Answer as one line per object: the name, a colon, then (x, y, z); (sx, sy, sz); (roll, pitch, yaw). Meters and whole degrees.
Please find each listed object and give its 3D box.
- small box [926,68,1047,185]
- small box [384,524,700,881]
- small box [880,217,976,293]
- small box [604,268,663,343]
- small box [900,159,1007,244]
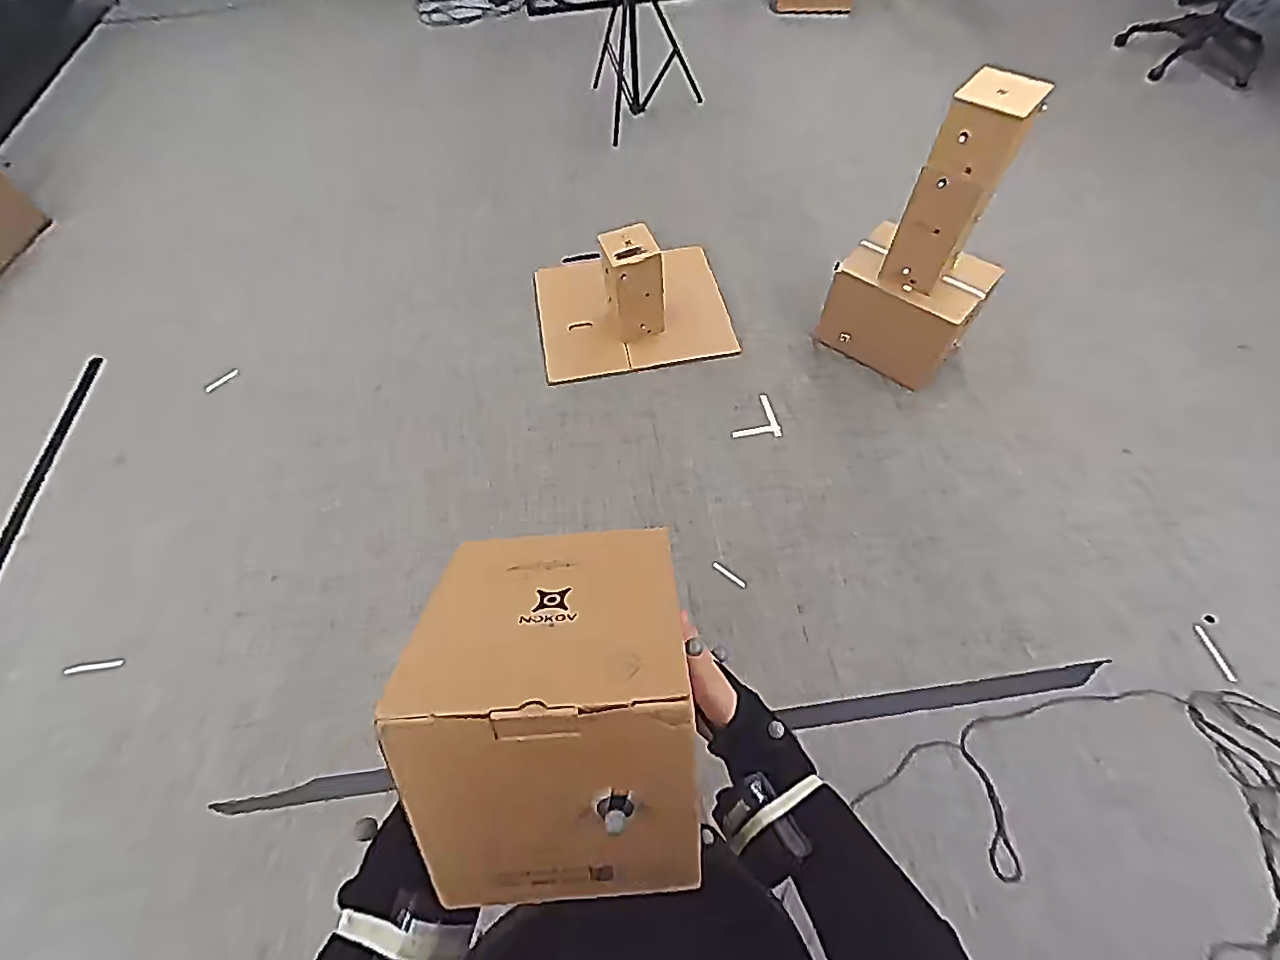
small box: (0.832, -0.858, 1.320); (0.168, 0.176, 0.179); (35, 67, 21)
small box: (-0.049, 0.151, 0.385); (0.168, 0.176, 0.179); (-3, 24, -1)
small box: (0.843, -0.694, 1.603); (0.168, 0.176, 0.179); (35, 68, 21)
small box: (-0.023, -0.629, 1.956); (0.168, 0.176, 0.179); (-18, 61, -5)
small box: (0.838, -0.779, 1.462); (0.168, 0.176, 0.179); (35, 67, 21)
